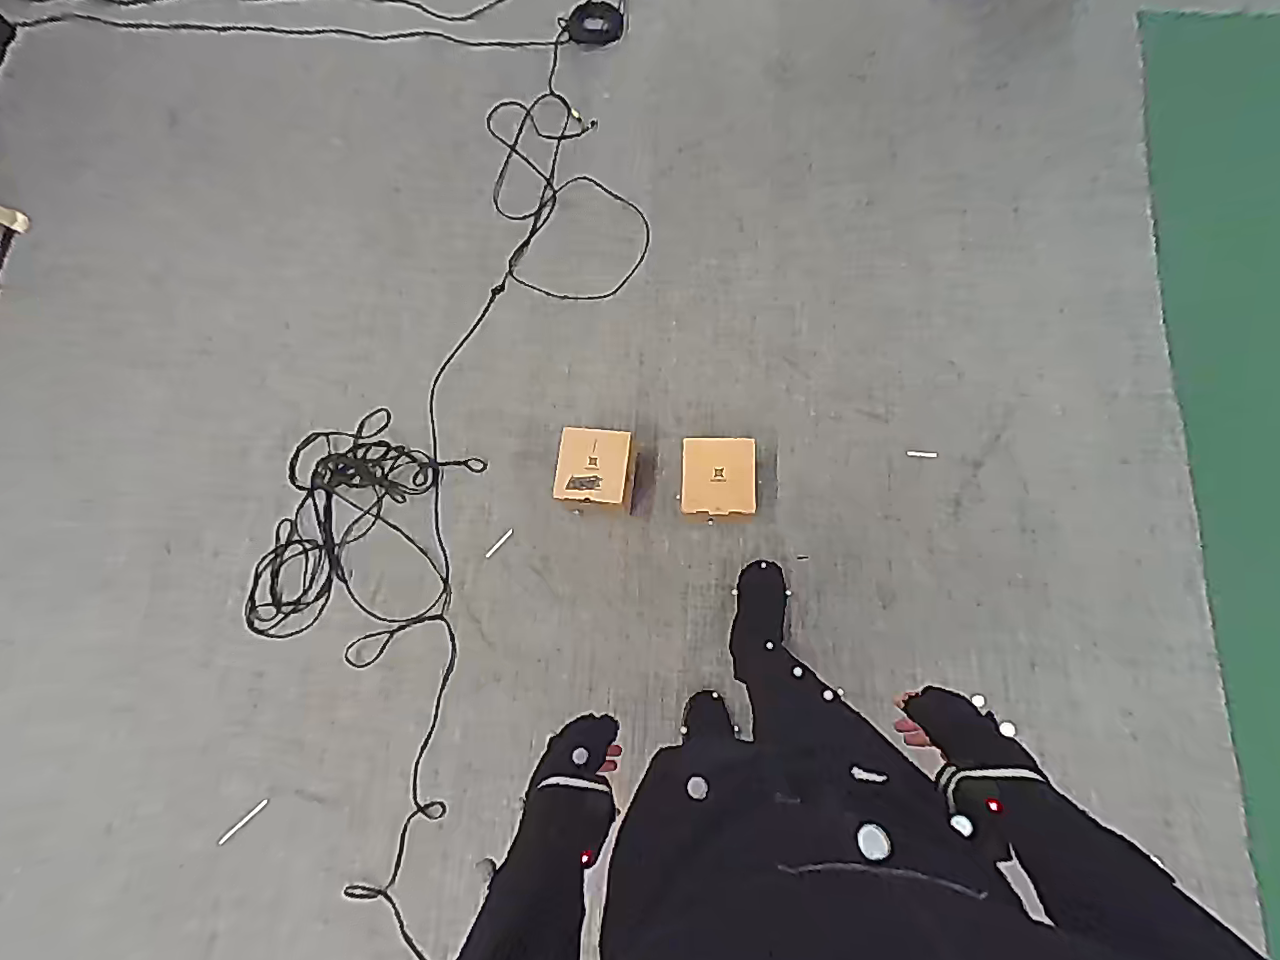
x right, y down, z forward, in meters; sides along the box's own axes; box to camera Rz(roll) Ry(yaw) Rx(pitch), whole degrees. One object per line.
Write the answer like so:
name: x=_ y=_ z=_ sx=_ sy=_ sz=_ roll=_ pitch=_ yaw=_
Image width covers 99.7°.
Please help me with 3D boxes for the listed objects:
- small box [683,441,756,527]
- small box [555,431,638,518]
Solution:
small box: x=0.189 y=0.014 z=1.309 sx=0.168 sy=0.176 sz=0.179 roll=1 pitch=78 yaw=6
small box: x=-0.100 y=-0.008 z=1.341 sx=0.168 sy=0.176 sz=0.179 roll=6 pitch=76 yaw=7
